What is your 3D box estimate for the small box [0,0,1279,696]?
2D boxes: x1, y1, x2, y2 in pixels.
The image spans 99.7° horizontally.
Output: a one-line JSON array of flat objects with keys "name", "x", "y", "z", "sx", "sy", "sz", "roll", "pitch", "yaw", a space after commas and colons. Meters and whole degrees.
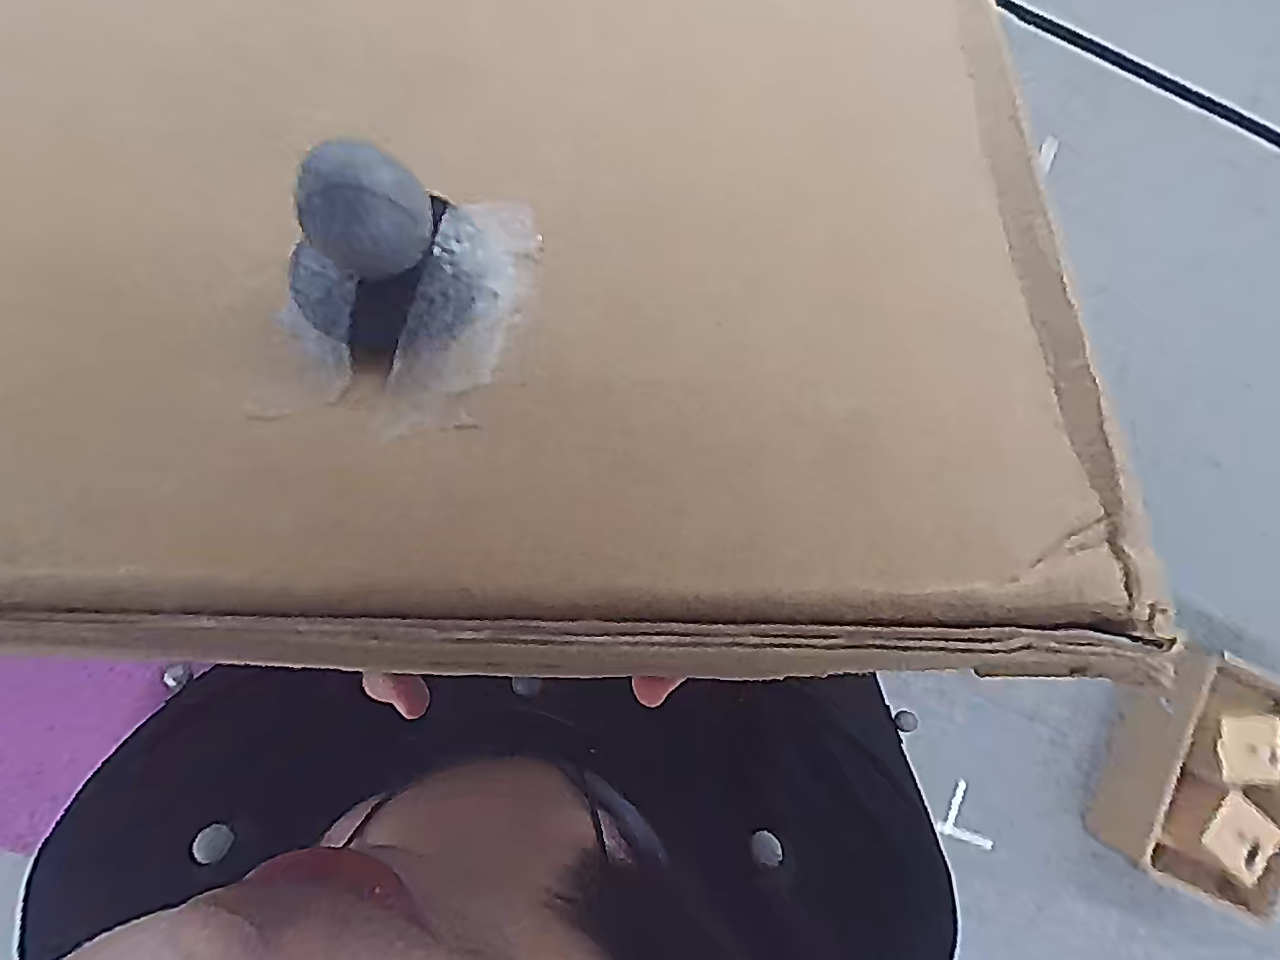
[{"name": "small box", "x": -0.019, "y": -0.039, "z": 0.142, "sx": 0.179, "sy": 0.168, "sz": 0.176, "roll": 4, "pitch": 68, "yaw": -1}]
